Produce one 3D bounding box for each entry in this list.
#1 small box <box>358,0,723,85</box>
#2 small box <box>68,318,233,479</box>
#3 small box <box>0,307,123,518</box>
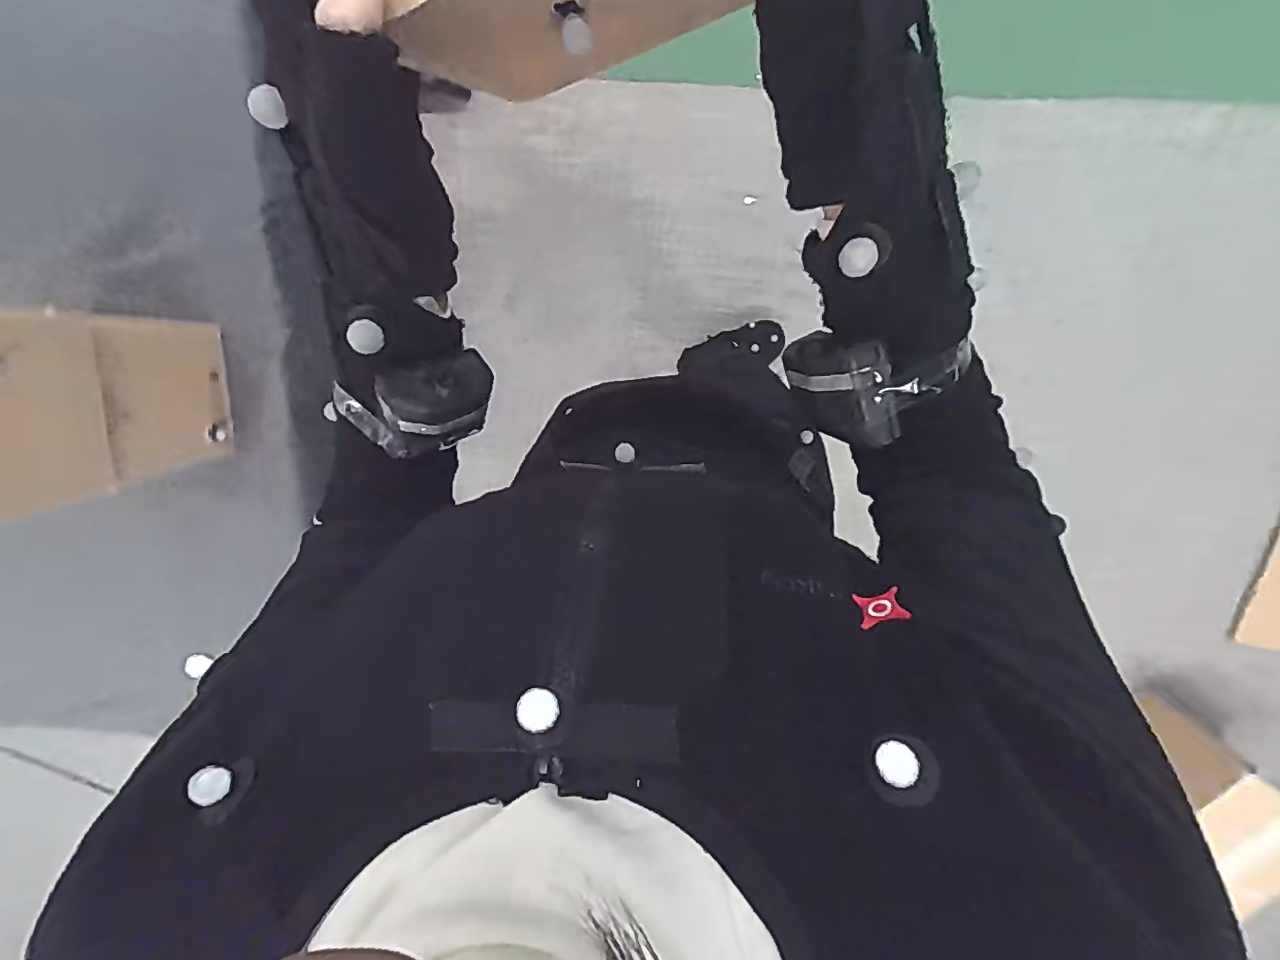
[{"bbox_3d":[-0.034,-0.299,0.219,0.179,0.176,0.168,-12,112,19],"label":"small box"},{"bbox_3d":[-0.621,-0.102,0.633,0.179,0.176,0.168,1,105,4],"label":"small box"},{"bbox_3d":[-0.620,-0.065,0.474,0.168,0.176,0.179,6,106,5],"label":"small box"}]
